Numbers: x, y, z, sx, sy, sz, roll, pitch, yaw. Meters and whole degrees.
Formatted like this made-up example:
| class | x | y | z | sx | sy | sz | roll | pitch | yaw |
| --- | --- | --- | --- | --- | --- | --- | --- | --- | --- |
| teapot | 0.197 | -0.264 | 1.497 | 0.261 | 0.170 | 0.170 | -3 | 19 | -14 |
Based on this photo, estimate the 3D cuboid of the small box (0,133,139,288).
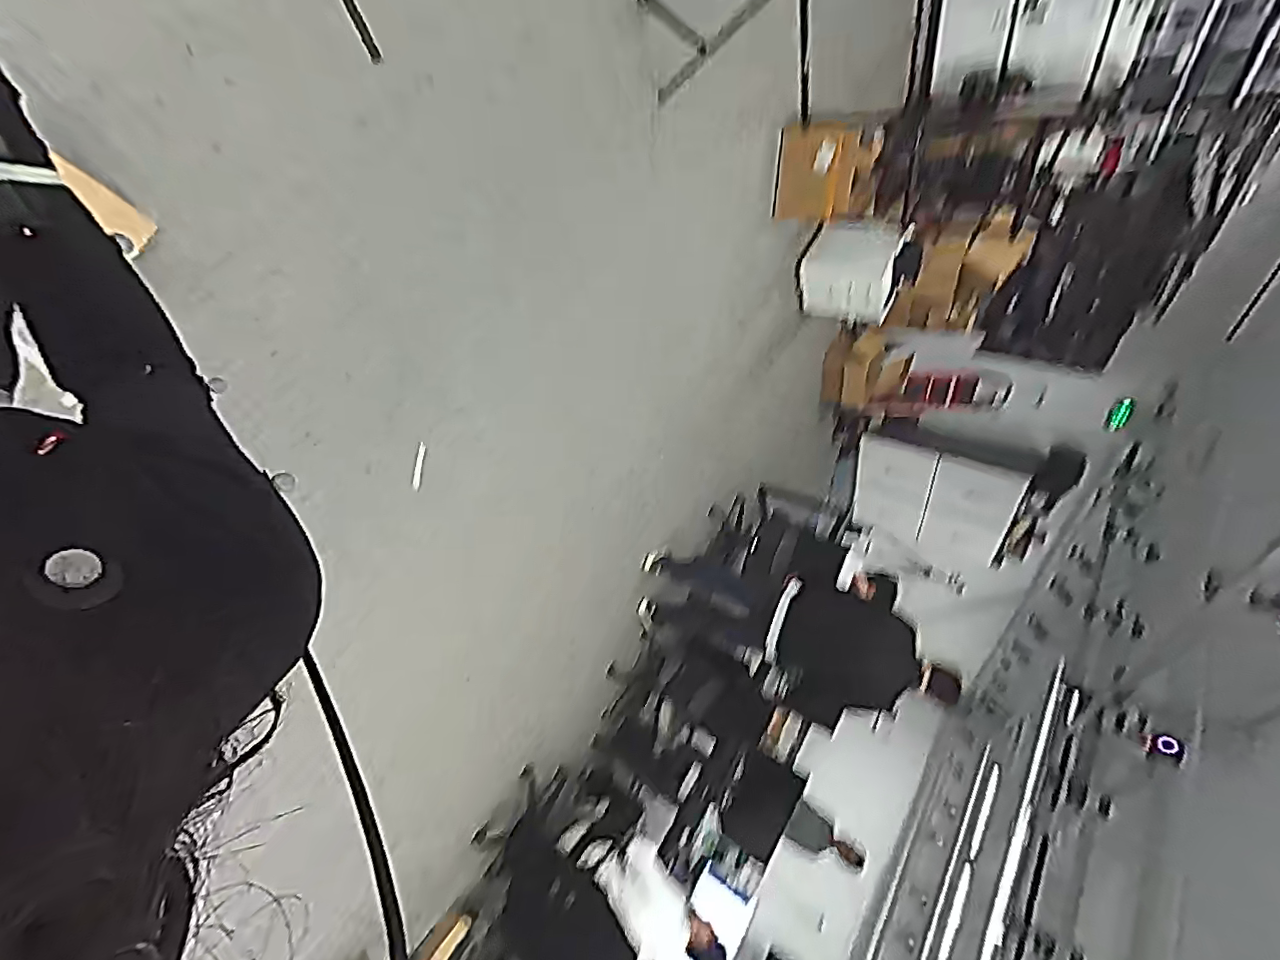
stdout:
| class | x | y | z | sx | sy | sz | roll | pitch | yaw |
| --- | --- | --- | --- | --- | --- | --- | --- | --- | --- |
| small box | -1.046 | -0.462 | 0.937 | 0.168 | 0.176 | 0.179 | -62 | 150 | -12 |
